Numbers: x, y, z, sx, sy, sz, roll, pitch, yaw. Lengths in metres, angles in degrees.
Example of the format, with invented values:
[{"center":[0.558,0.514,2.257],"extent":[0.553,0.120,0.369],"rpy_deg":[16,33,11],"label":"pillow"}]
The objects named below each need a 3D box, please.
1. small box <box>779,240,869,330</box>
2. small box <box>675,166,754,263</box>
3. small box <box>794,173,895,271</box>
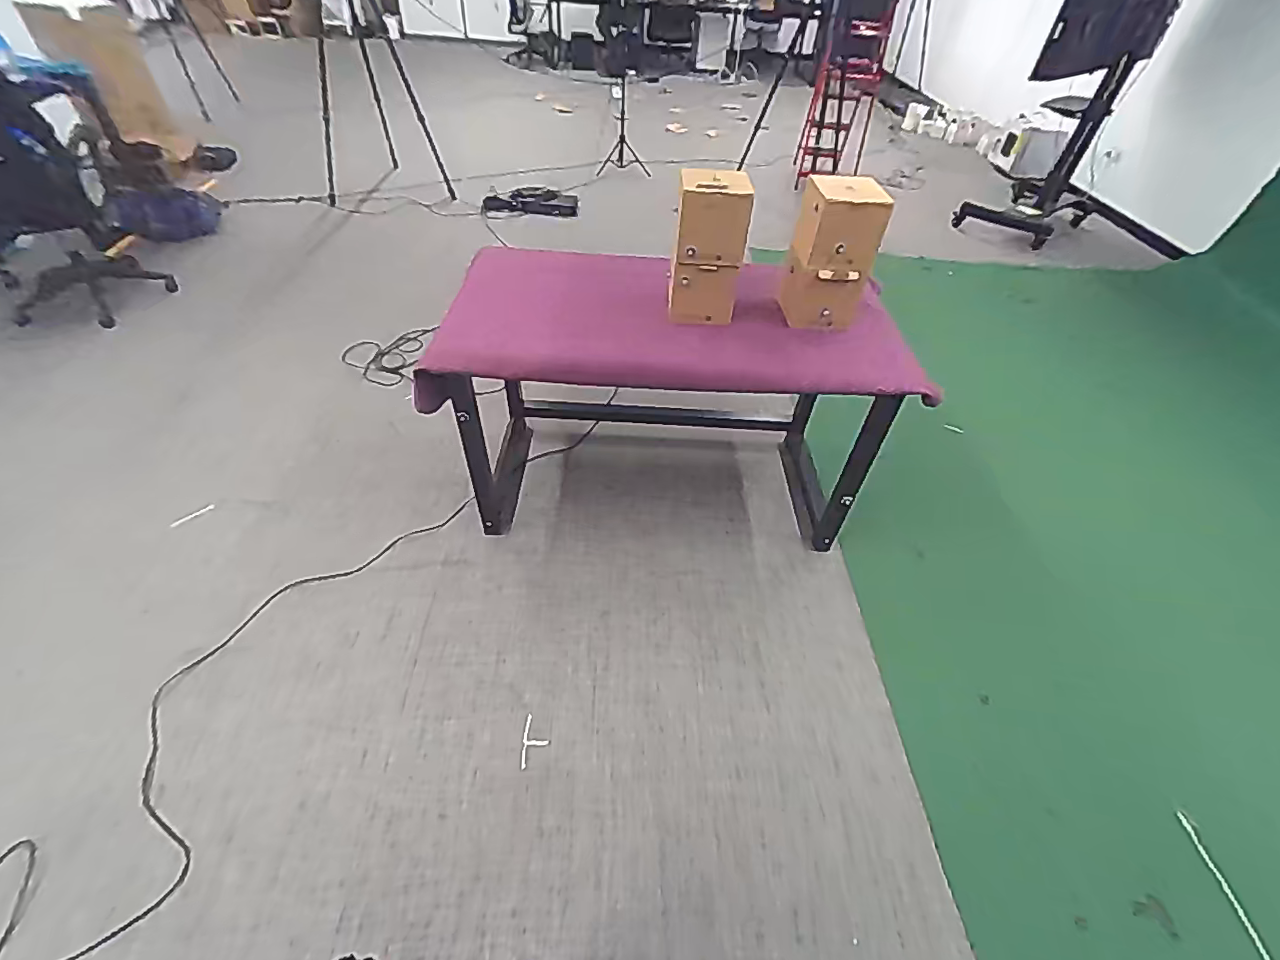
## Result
[{"center":[0.487,-0.529,1.466],"extent":[0.168,0.176,0.179],"rpy_deg":[0,47,-3],"label":"small box"},{"center":[0.176,-0.651,1.329],"extent":[0.168,0.176,0.179],"rpy_deg":[3,45,-2],"label":"small box"},{"center":[0.499,-0.644,1.351],"extent":[0.168,0.176,0.179],"rpy_deg":[1,47,-3],"label":"small box"}]
